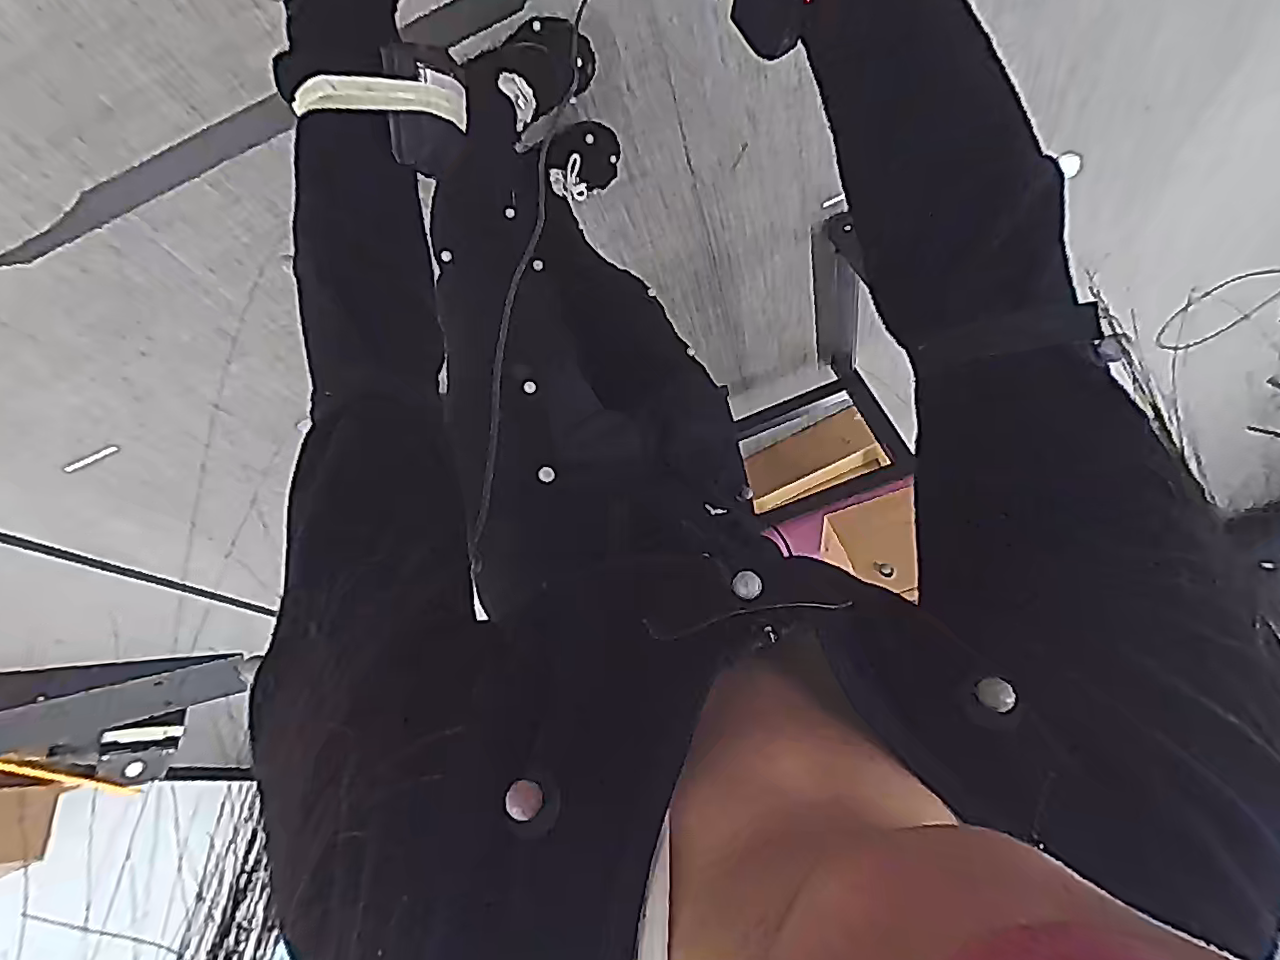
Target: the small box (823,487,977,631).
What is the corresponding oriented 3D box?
[{"bbox_3d":[0.437,0.139,0.946,0.179,0.176,0.168,-20,148,3],"label":"small box"}]
